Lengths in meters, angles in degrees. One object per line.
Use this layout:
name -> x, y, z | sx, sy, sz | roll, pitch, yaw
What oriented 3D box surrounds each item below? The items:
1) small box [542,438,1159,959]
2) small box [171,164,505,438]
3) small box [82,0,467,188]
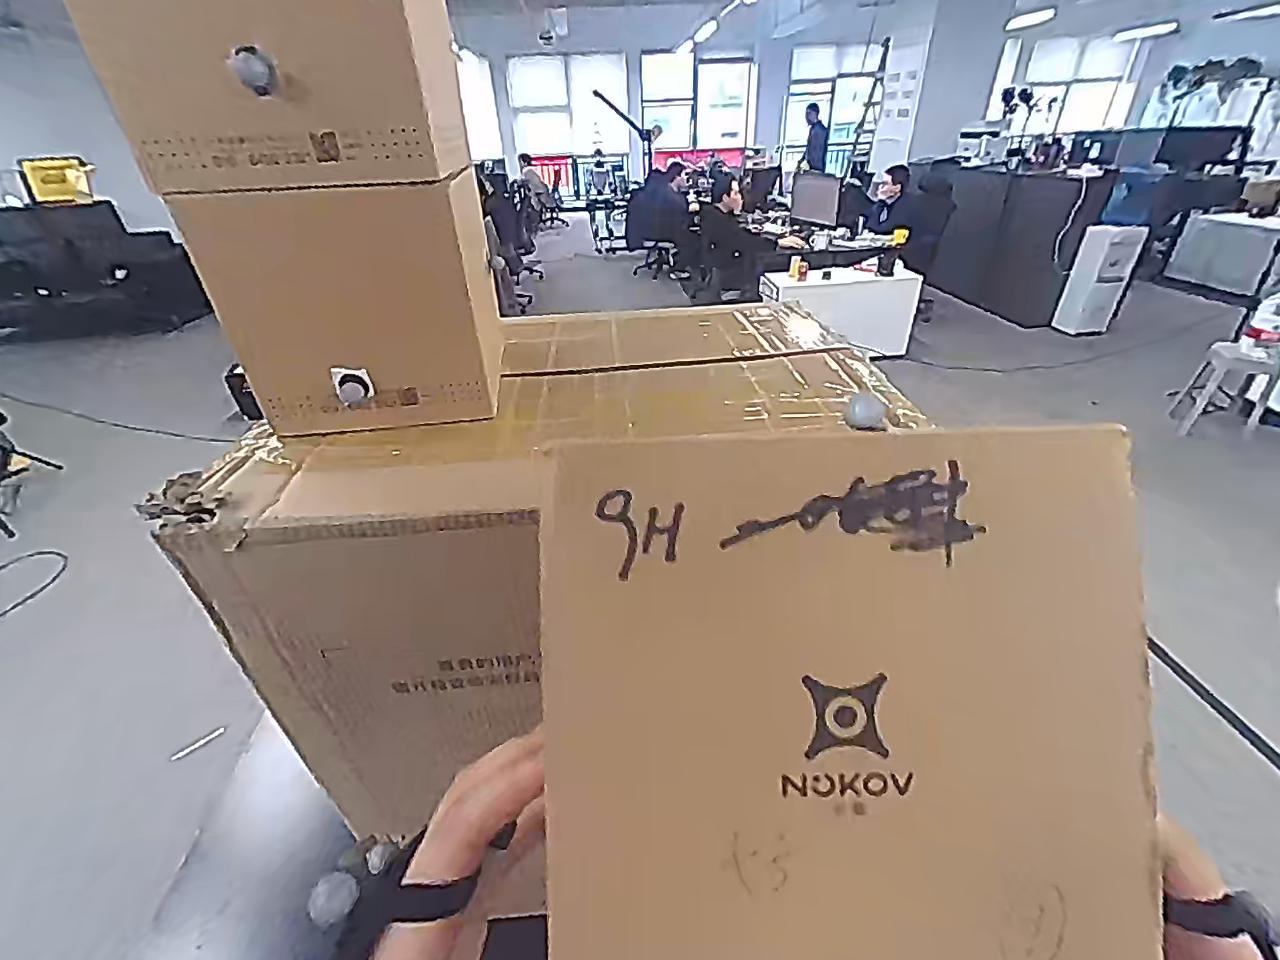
small box -> 0.058, 0.076, 0.228 | 0.168, 0.179, 0.176 | -1, -1, 2
small box -> -0.208, -0.151, 0.439 | 0.168, 0.176, 0.179 | -8, 35, -7
small box -> -0.216, -0.287, 0.345 | 0.168, 0.176, 0.179 | -6, 34, -5
